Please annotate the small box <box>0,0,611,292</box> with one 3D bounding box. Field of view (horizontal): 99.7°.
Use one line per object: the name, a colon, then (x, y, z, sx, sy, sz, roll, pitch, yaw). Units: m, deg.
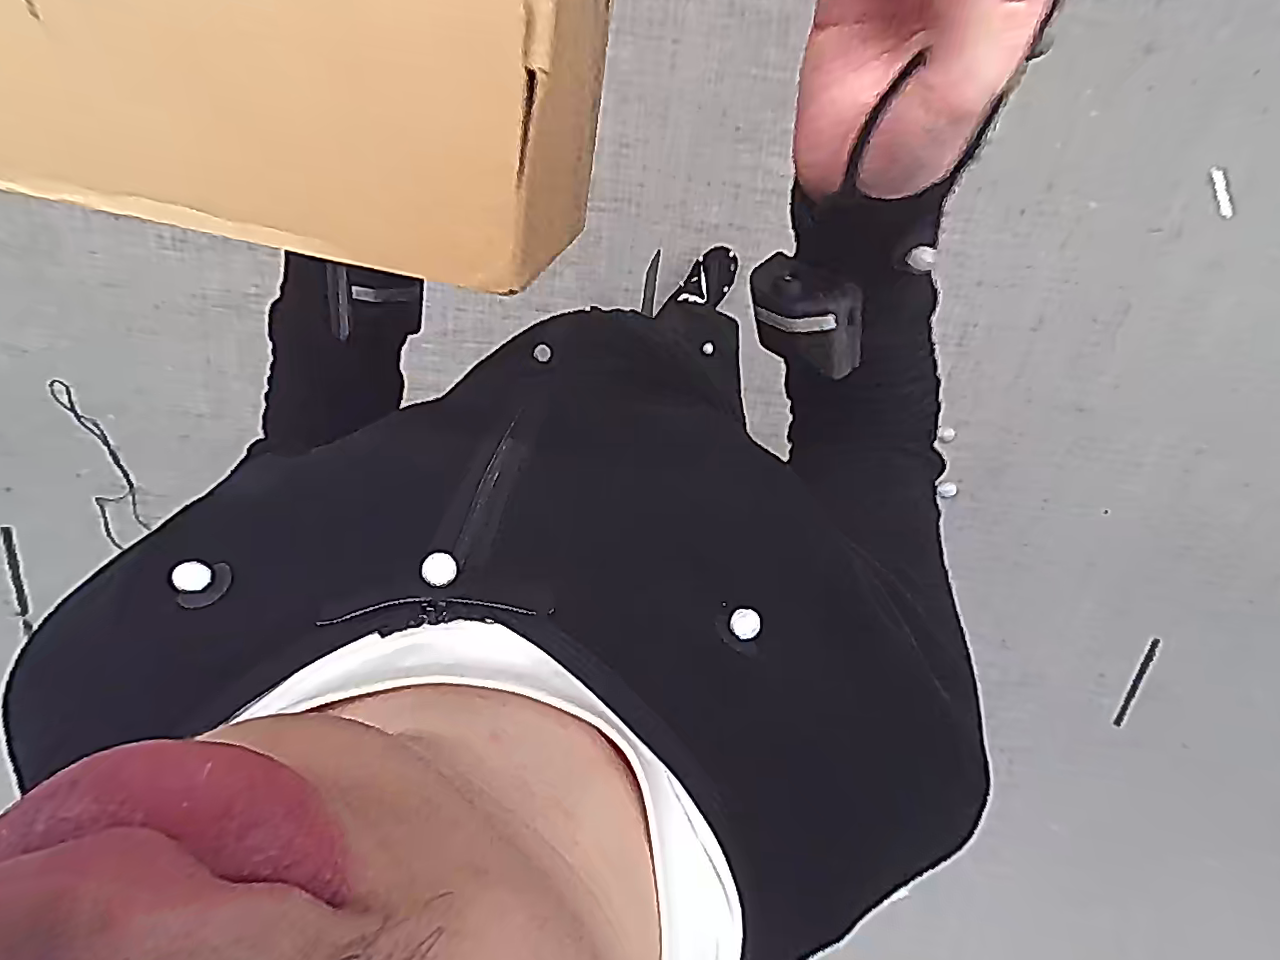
small box: (-0.105, -0.188, 0.206, 0.179, 0.176, 0.168, 12, 120, -3)
